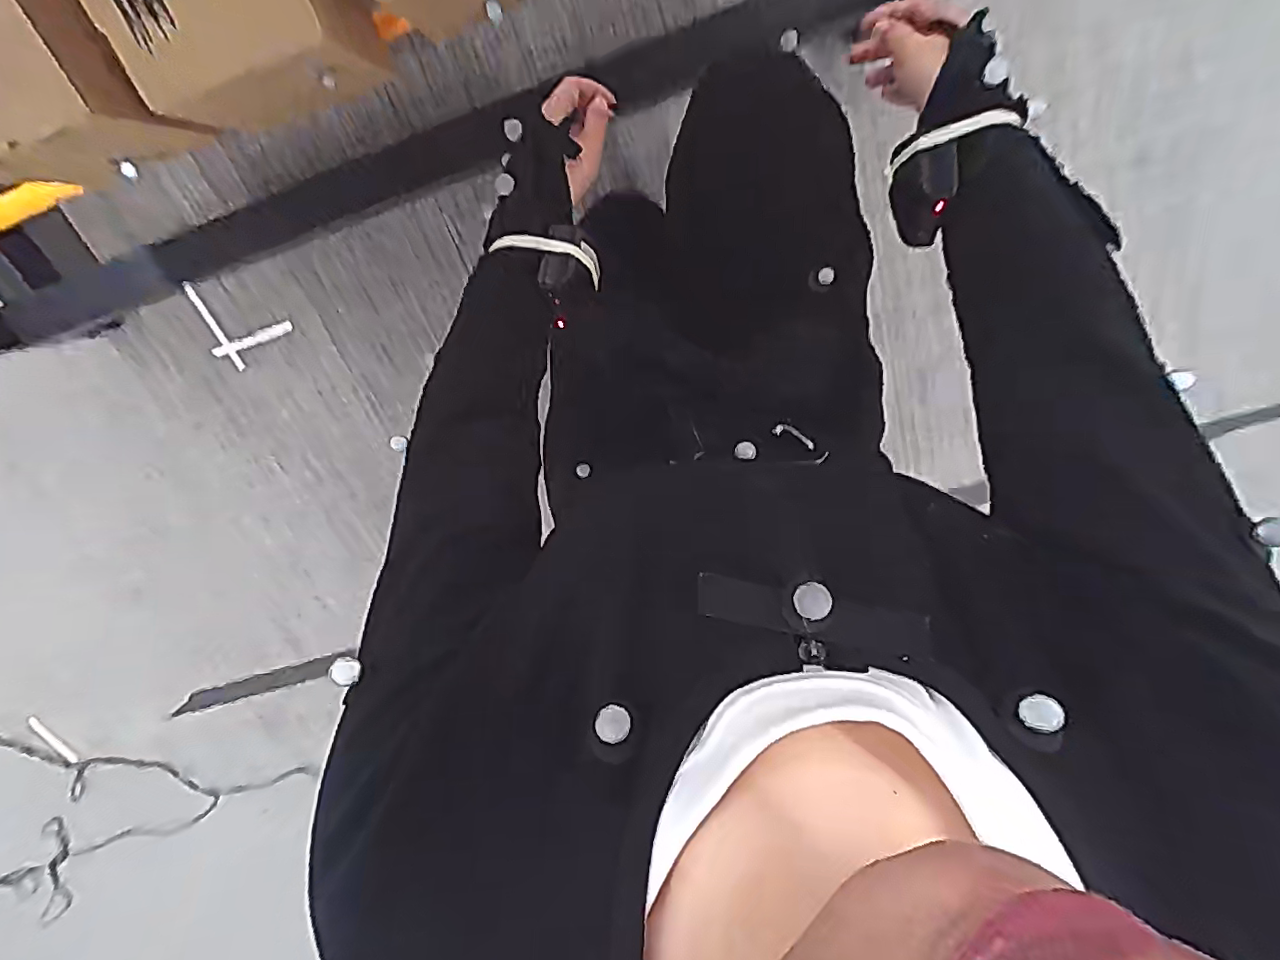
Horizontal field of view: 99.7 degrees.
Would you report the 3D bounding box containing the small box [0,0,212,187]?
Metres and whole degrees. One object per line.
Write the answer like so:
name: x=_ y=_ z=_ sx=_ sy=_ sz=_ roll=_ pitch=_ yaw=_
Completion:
small box: x=-0.571 y=-0.394 z=0.504 sx=0.168 sy=0.176 sz=0.179 roll=-17 pitch=116 yaw=7
